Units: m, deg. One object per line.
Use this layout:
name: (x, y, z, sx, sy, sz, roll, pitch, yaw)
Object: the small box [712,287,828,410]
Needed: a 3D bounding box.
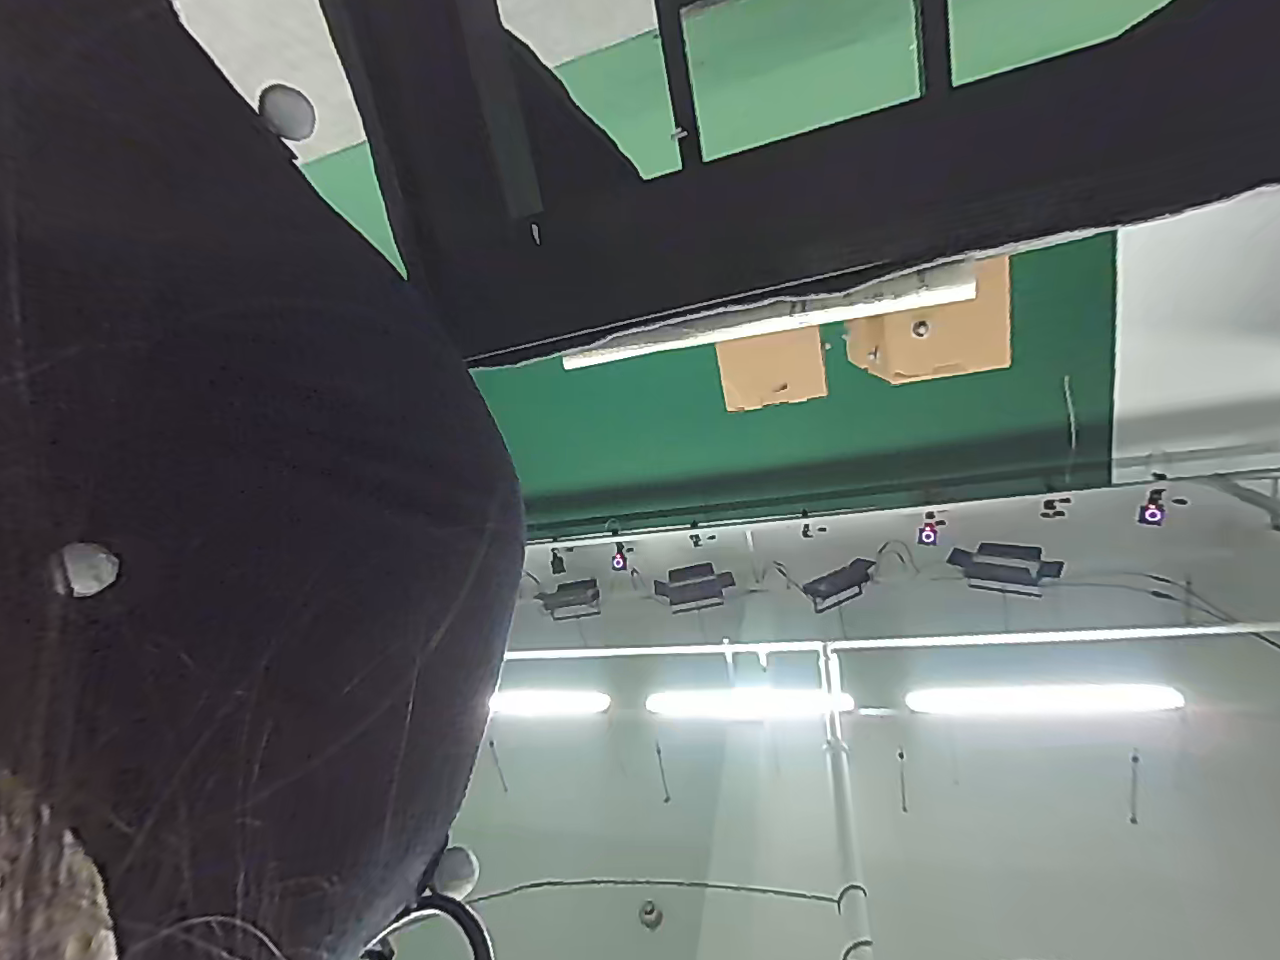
small box: (0.230, -0.234, 0.946, 0.168, 0.176, 0.179, -7, -164, 19)
